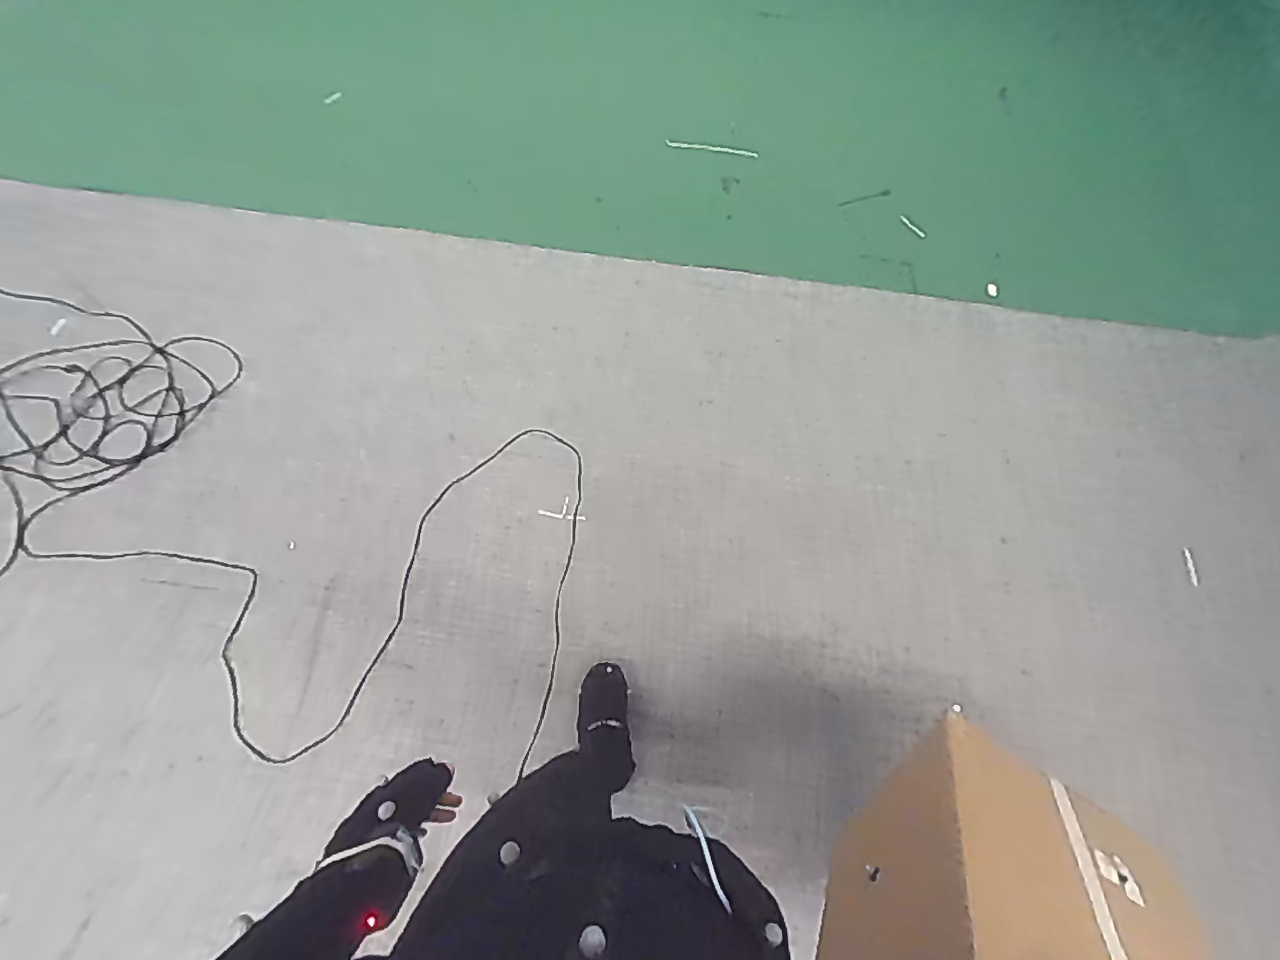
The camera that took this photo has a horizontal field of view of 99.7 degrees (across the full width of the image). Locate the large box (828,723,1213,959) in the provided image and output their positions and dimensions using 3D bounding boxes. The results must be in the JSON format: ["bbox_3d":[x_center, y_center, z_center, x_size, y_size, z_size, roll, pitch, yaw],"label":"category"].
[{"bbox_3d":[0.444,0.607,0.657,0.320,0.408,0.320,34,112,17],"label":"large box"}]
